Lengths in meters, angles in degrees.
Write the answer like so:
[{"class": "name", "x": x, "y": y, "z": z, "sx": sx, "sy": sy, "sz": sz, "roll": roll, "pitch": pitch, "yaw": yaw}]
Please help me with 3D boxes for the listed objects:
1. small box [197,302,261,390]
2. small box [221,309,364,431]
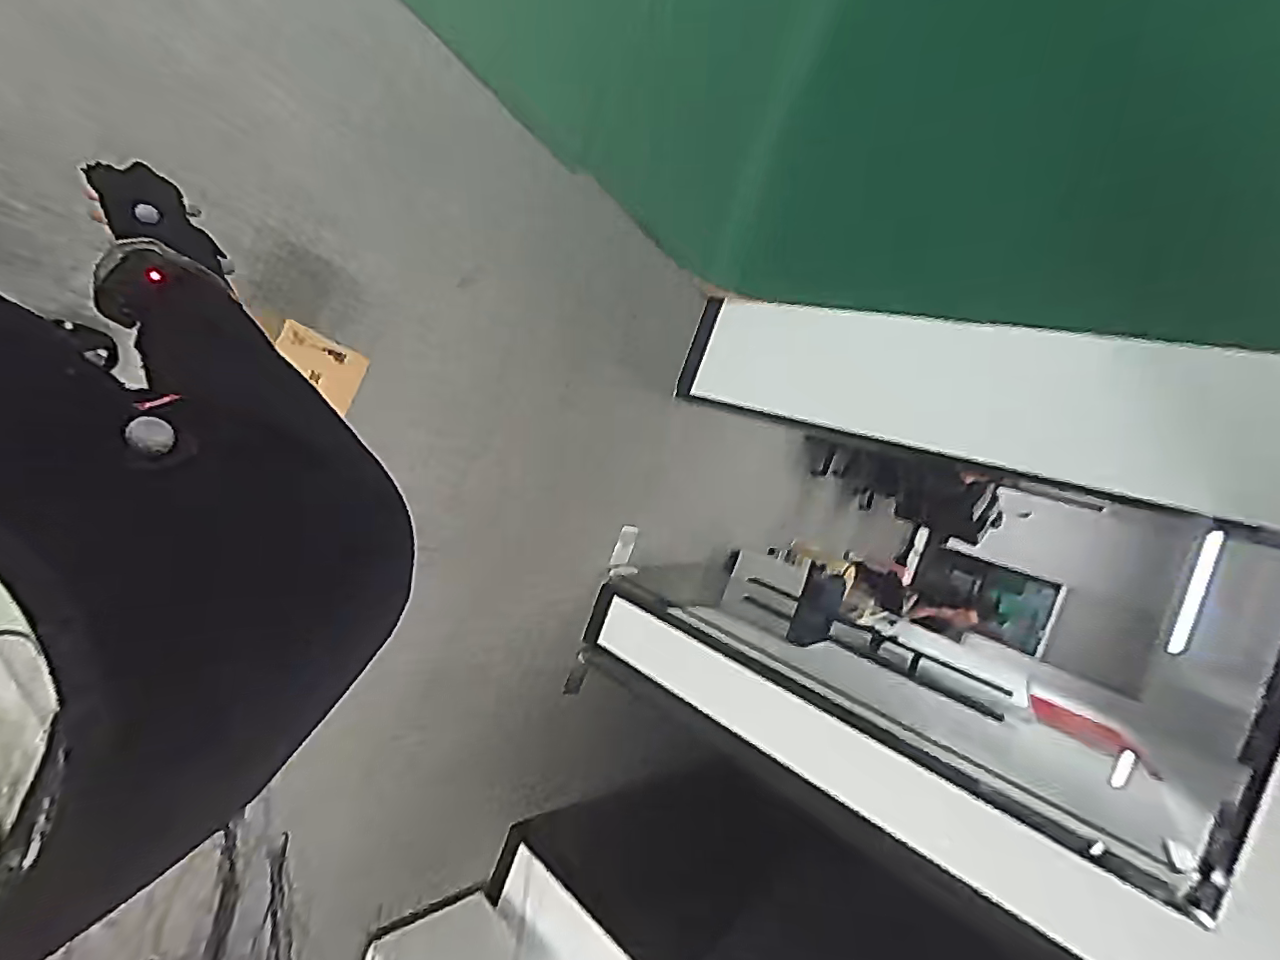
[{"class": "small box", "x": -0.815, "y": -0.263, "z": 1.169, "sx": 0.168, "sy": 0.176, "sz": 0.179, "roll": 30, "pitch": 81, "yaw": -54}, {"class": "small box", "x": -0.693, "y": -0.219, "z": 1.073, "sx": 0.168, "sy": 0.176, "sz": 0.179, "roll": 26, "pitch": 84, "yaw": -52}]
